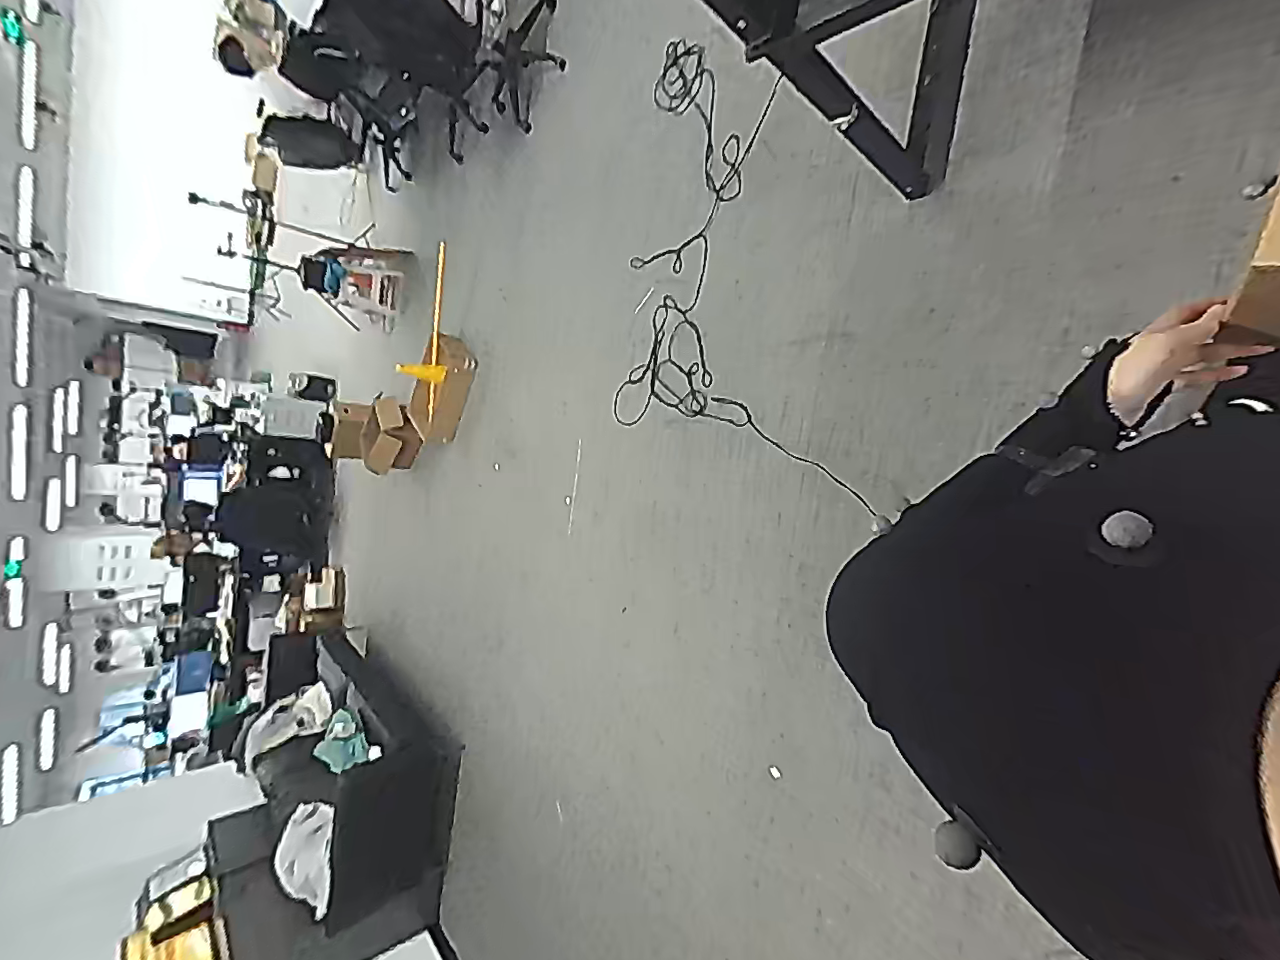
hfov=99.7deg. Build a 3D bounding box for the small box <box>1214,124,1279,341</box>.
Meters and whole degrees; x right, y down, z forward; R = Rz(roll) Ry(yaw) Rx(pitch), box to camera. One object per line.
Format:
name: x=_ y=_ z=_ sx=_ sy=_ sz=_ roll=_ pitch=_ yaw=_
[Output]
small box: x=0.497 y=-0.180 z=0.325 sx=0.179 sy=0.176 sz=0.168 roll=20 pitch=99 yaw=41
